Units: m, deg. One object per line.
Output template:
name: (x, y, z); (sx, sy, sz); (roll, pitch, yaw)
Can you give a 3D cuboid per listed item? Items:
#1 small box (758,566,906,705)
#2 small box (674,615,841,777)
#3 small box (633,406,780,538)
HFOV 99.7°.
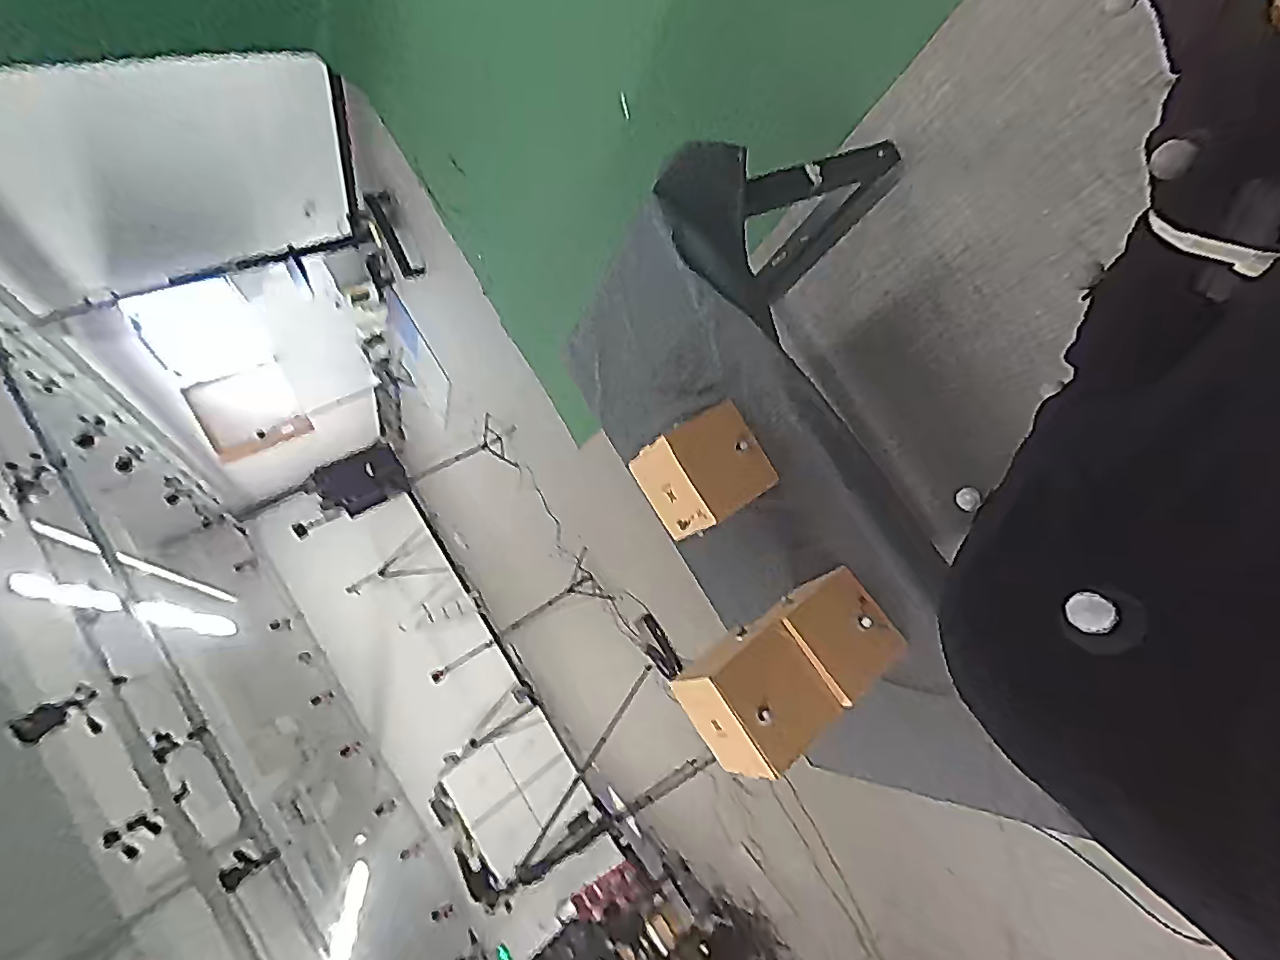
small box: (0.325, 0.279, 0.959); (0.168, 0.176, 0.179); (53, 151, 12)
small box: (0.193, 0.352, 0.897); (0.179, 0.176, 0.168); (56, 151, 9)
small box: (0.122, -0.019, 1.008); (0.179, 0.176, 0.168); (59, 152, 3)
